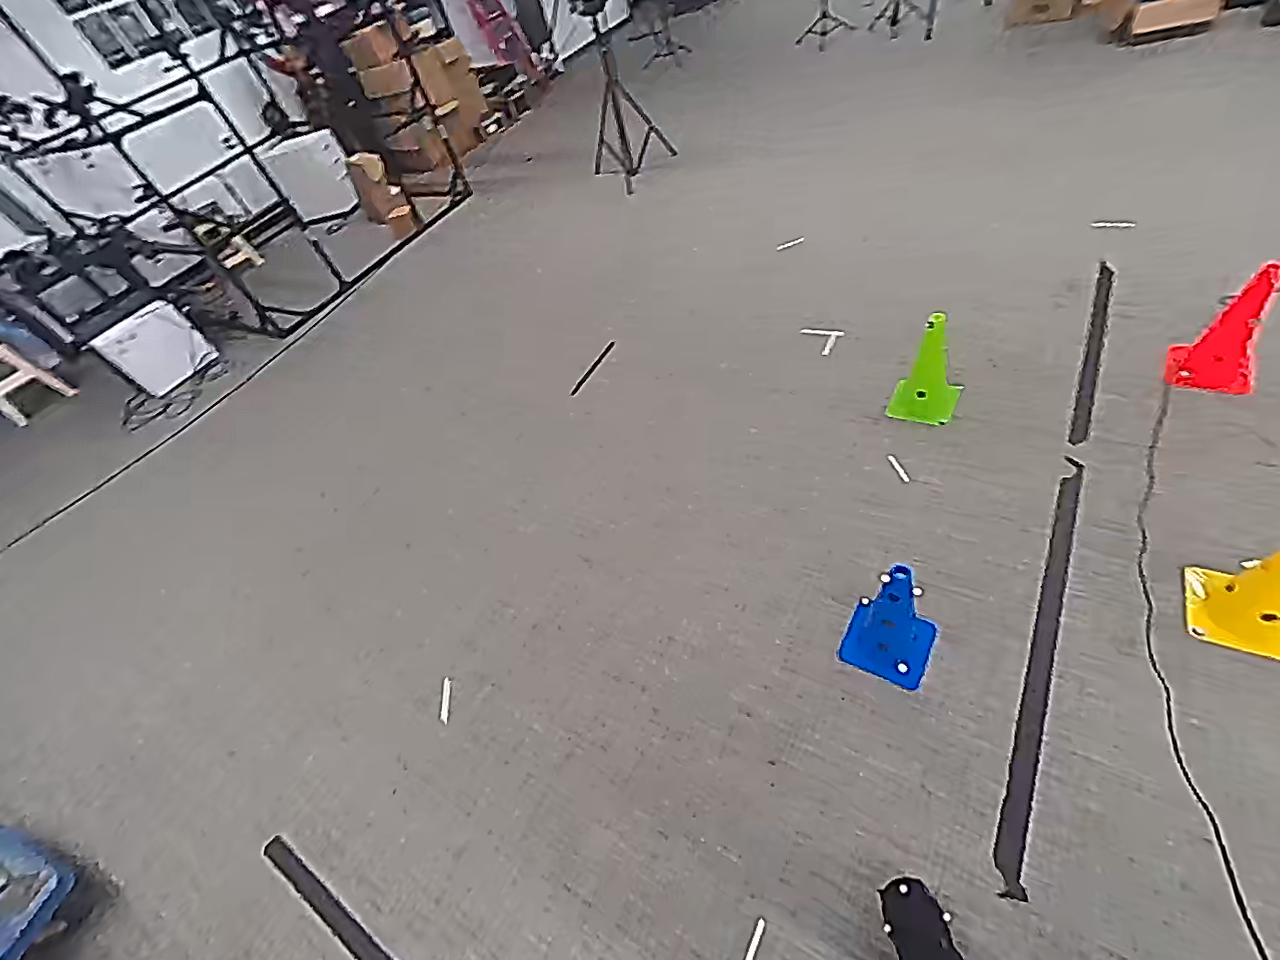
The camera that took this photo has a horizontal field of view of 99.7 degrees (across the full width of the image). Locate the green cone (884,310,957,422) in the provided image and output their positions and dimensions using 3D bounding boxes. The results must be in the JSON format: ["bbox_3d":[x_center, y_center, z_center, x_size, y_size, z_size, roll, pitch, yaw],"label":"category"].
[{"bbox_3d":[0.935,-0.393,1.769,0.202,0.368,0.200,15,57,31],"label":"green cone"}]

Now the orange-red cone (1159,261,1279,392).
[{"bbox_3d":[1.720,-0.461,1.562,0.199,0.360,0.198,21,61,31],"label":"orange-red cone"}]

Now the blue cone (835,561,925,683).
[{"bbox_3d":[0.585,0.312,1.294,0.192,0.380,0.193,19,58,33],"label":"blue cone"}]
